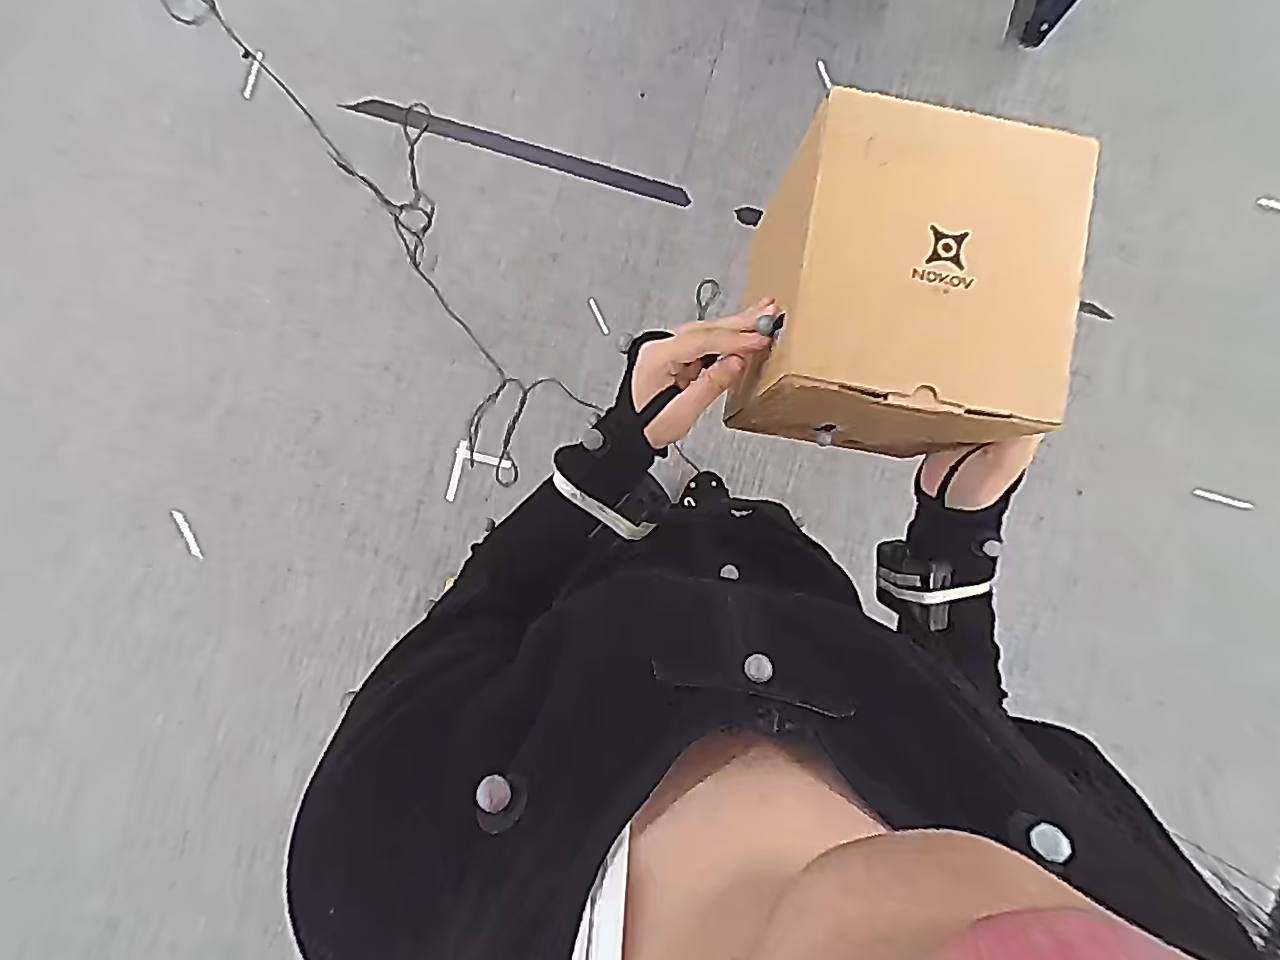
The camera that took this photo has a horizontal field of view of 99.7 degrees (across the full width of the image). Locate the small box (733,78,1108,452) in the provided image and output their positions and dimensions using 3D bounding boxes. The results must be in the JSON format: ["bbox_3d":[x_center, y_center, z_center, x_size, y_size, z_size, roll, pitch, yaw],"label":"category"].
[{"bbox_3d":[0.171,-0.124,0.381,0.168,0.176,0.179,9,88,-2],"label":"small box"}]
